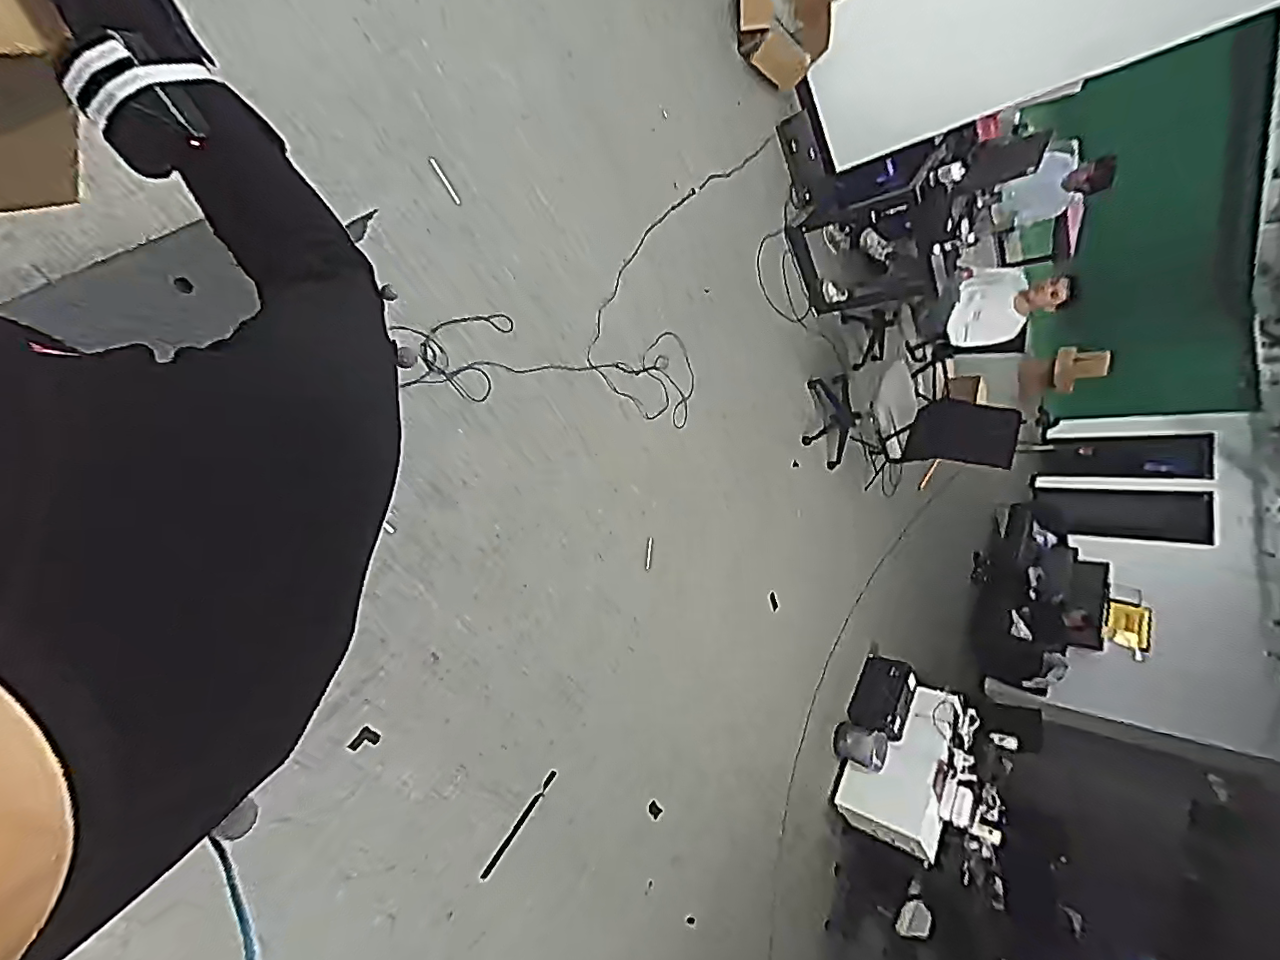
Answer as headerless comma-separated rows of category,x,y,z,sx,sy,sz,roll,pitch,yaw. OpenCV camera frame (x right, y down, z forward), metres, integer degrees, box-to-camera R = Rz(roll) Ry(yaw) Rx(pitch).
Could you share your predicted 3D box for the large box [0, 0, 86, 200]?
large box,-0.630,-0.331,0.272,0.408,0.320,0.320,-36,118,-40
